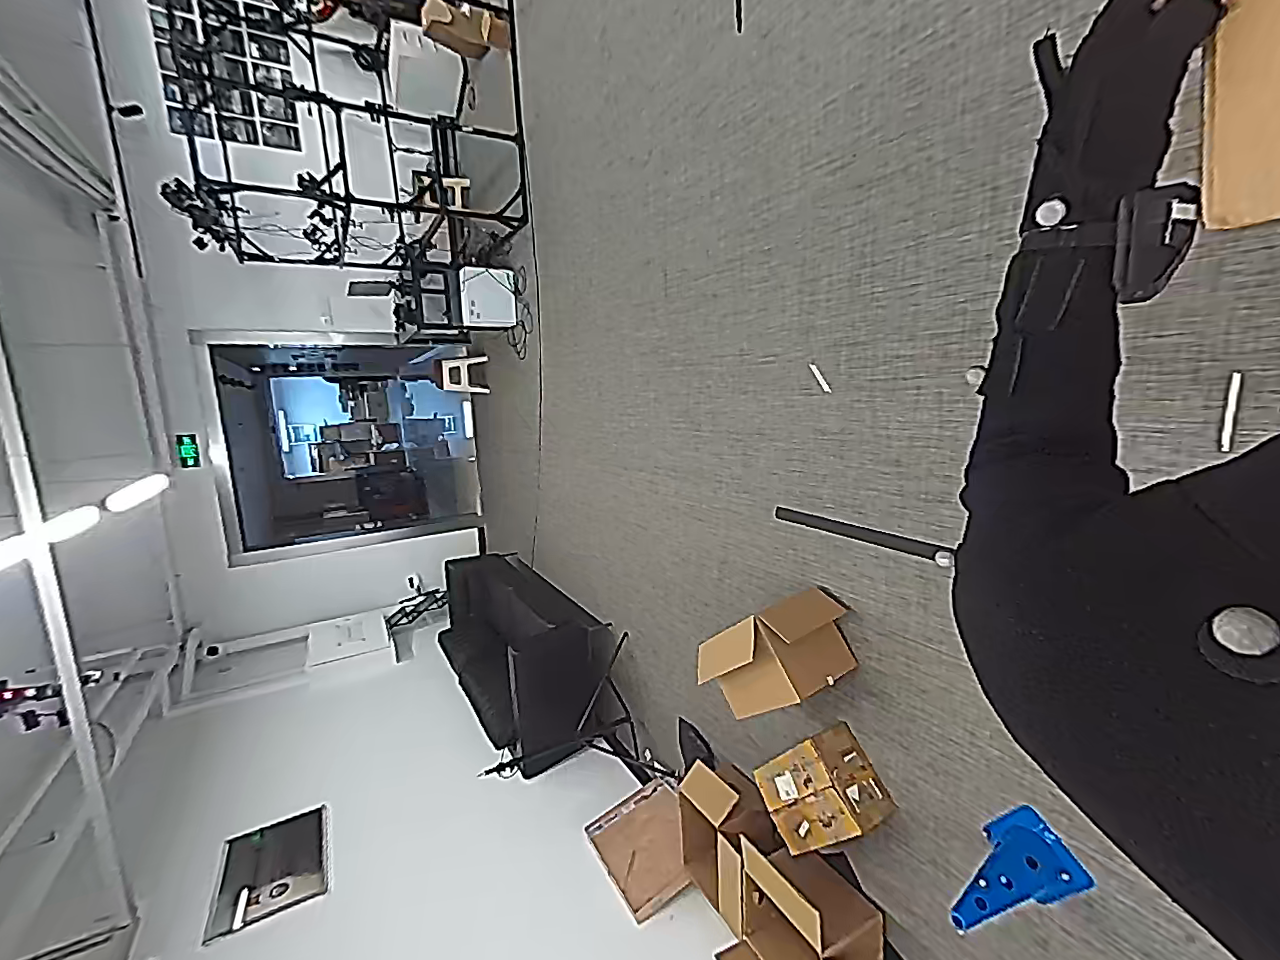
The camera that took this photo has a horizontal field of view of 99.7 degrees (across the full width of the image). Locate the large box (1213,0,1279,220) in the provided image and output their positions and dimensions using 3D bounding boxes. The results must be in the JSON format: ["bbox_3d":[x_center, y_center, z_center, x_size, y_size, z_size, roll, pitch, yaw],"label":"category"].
[{"bbox_3d":[0.540,-0.328,0.203,0.408,0.320,0.320,7,112,58],"label":"large box"}]
